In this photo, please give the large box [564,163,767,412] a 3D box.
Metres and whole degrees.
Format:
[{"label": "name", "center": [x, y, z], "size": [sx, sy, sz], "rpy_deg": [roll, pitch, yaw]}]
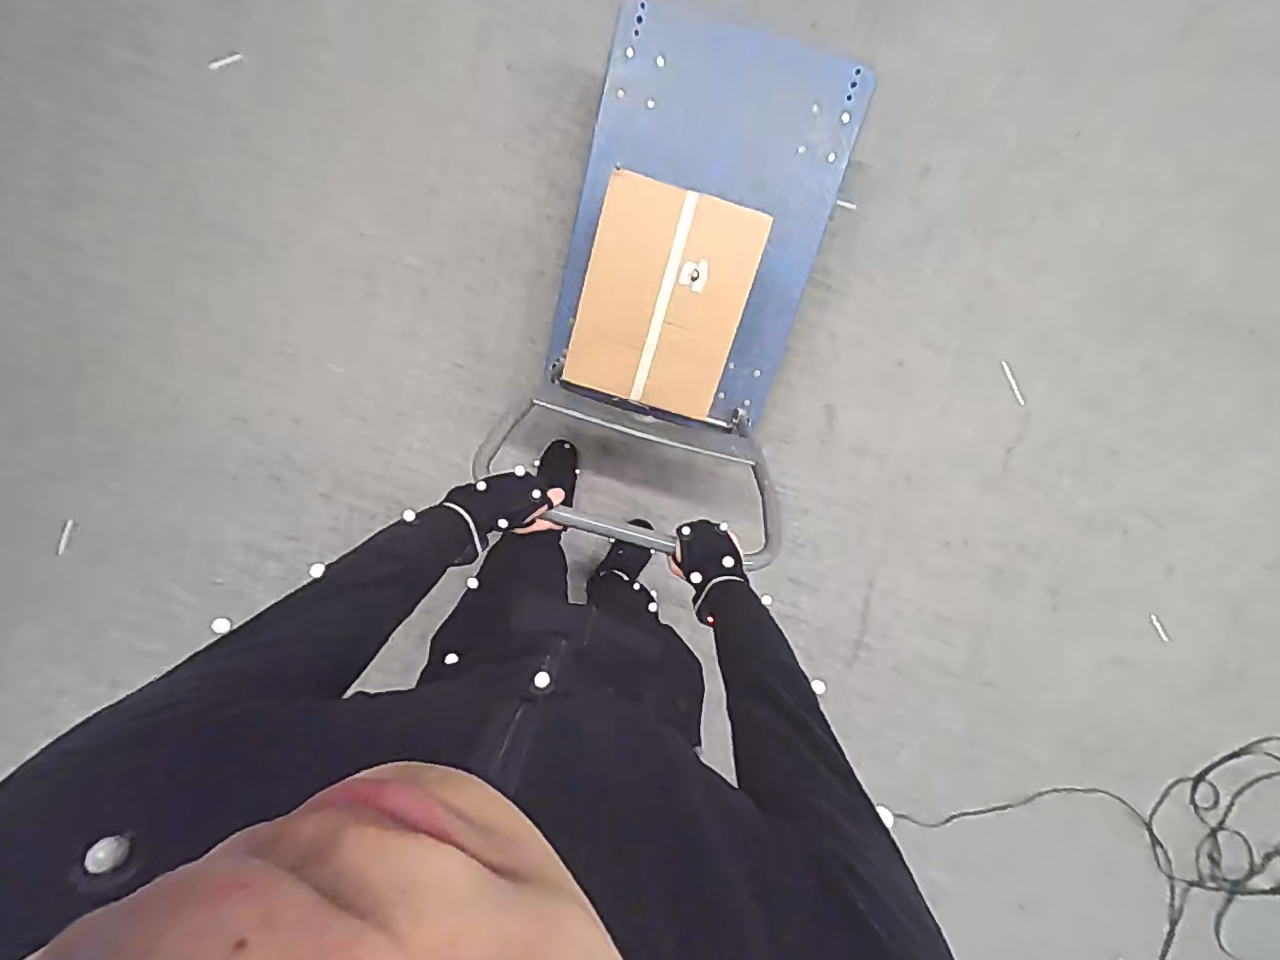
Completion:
[{"label": "large box", "center": [0.048, -0.405, 1.193], "size": [0.320, 0.320, 0.408], "rpy_deg": [16, 110, -3]}]
